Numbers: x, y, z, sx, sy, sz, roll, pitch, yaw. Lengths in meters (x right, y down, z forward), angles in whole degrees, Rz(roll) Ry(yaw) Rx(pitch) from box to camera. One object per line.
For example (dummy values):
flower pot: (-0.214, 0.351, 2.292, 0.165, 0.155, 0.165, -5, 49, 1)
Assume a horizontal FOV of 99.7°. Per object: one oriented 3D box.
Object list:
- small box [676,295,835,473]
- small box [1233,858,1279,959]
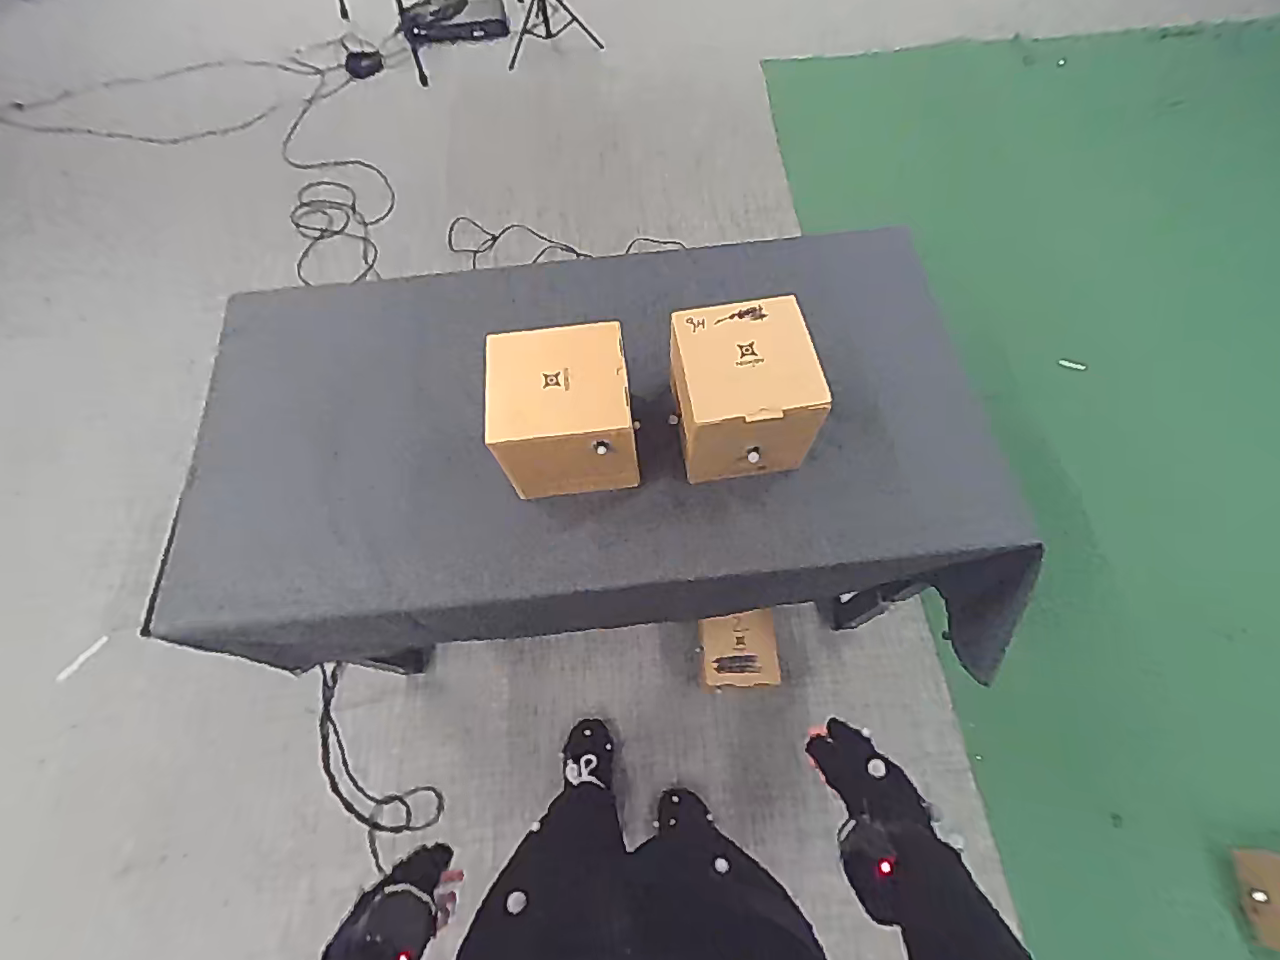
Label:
small box: (0.142, -0.120, 0.737, 0.168, 0.176, 0.179, -7, 65, -2)
small box: (1.330, 0.847, 1.038, 0.179, 0.176, 0.168, 4, 64, 5)
